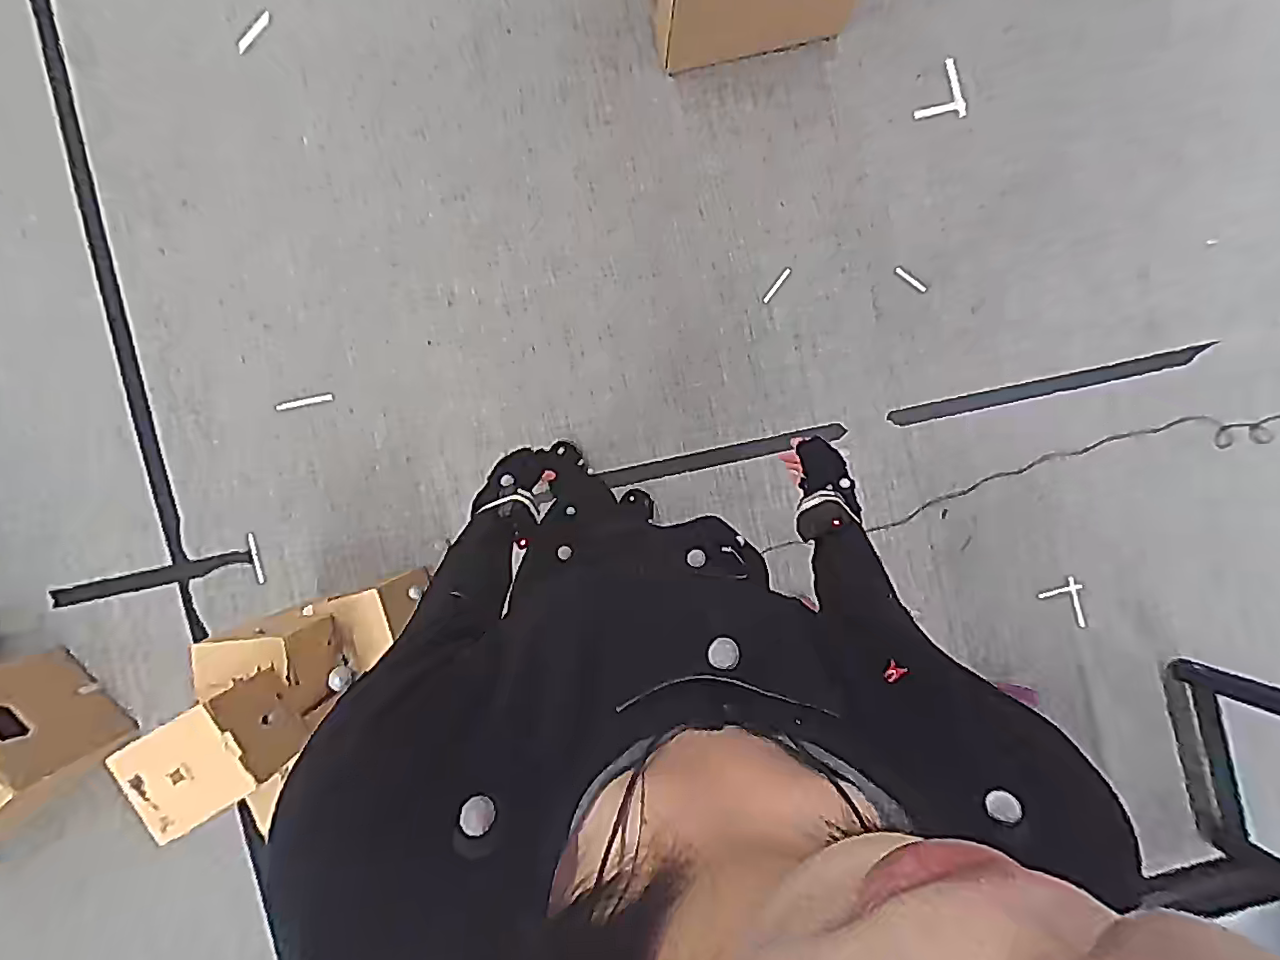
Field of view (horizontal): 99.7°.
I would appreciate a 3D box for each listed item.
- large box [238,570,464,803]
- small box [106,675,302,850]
[{"bbox_3d":[-0.678,0.477,1.334,0.320,0.320,0.408,-18,90,-4],"label":"large box"},{"bbox_3d":[-0.720,0.465,0.924,0.179,0.176,0.168,-31,91,-4],"label":"small box"}]
